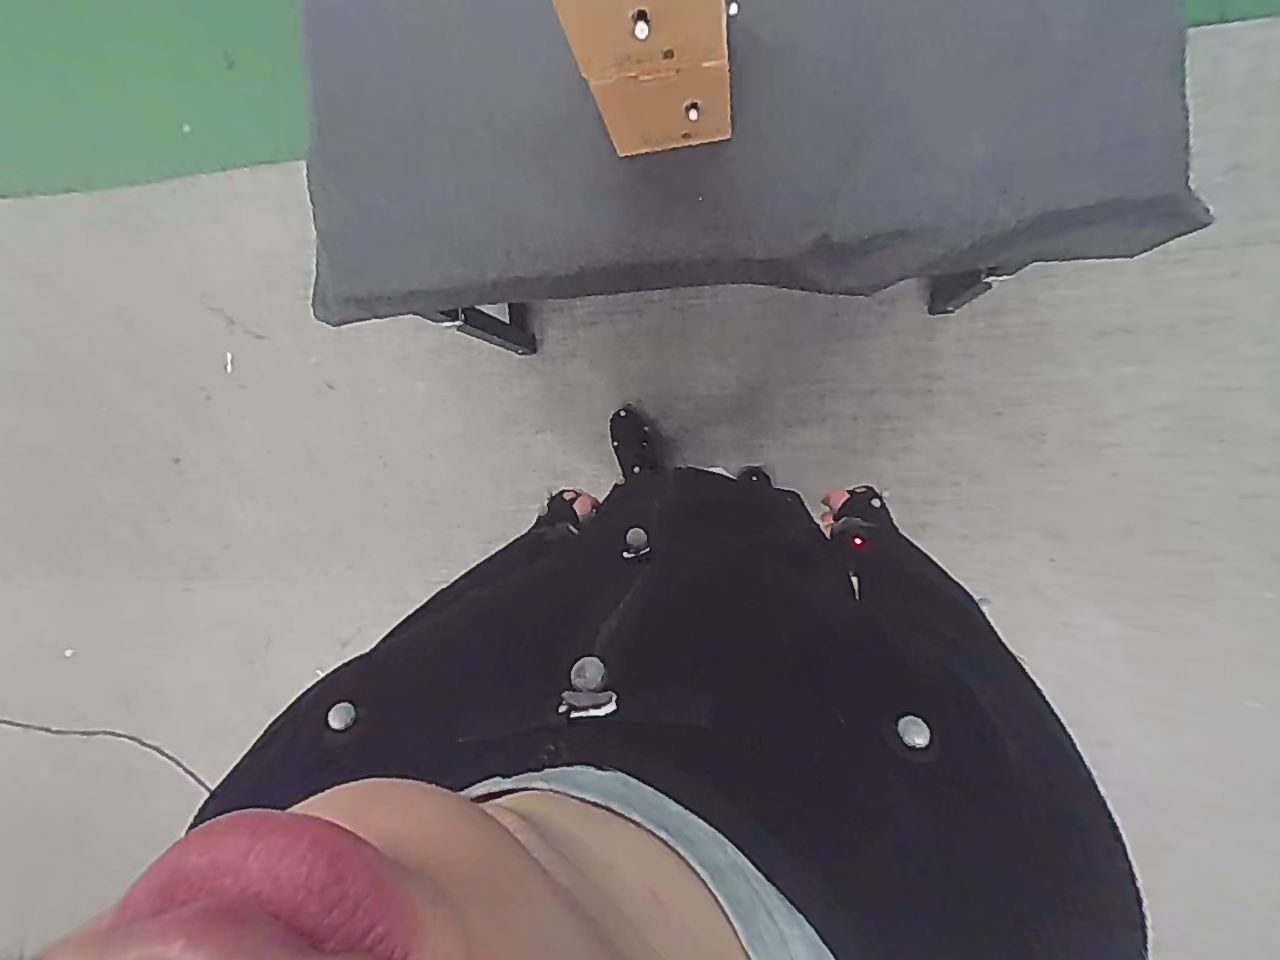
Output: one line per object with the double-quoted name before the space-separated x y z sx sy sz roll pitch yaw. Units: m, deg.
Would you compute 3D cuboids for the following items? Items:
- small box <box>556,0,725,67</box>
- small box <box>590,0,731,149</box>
"small box" 0.000 -0.553 0.540 0.168 0.176 0.179 -2 95 9
"small box" 0.031 -0.560 0.701 0.168 0.176 0.179 -3 93 9
